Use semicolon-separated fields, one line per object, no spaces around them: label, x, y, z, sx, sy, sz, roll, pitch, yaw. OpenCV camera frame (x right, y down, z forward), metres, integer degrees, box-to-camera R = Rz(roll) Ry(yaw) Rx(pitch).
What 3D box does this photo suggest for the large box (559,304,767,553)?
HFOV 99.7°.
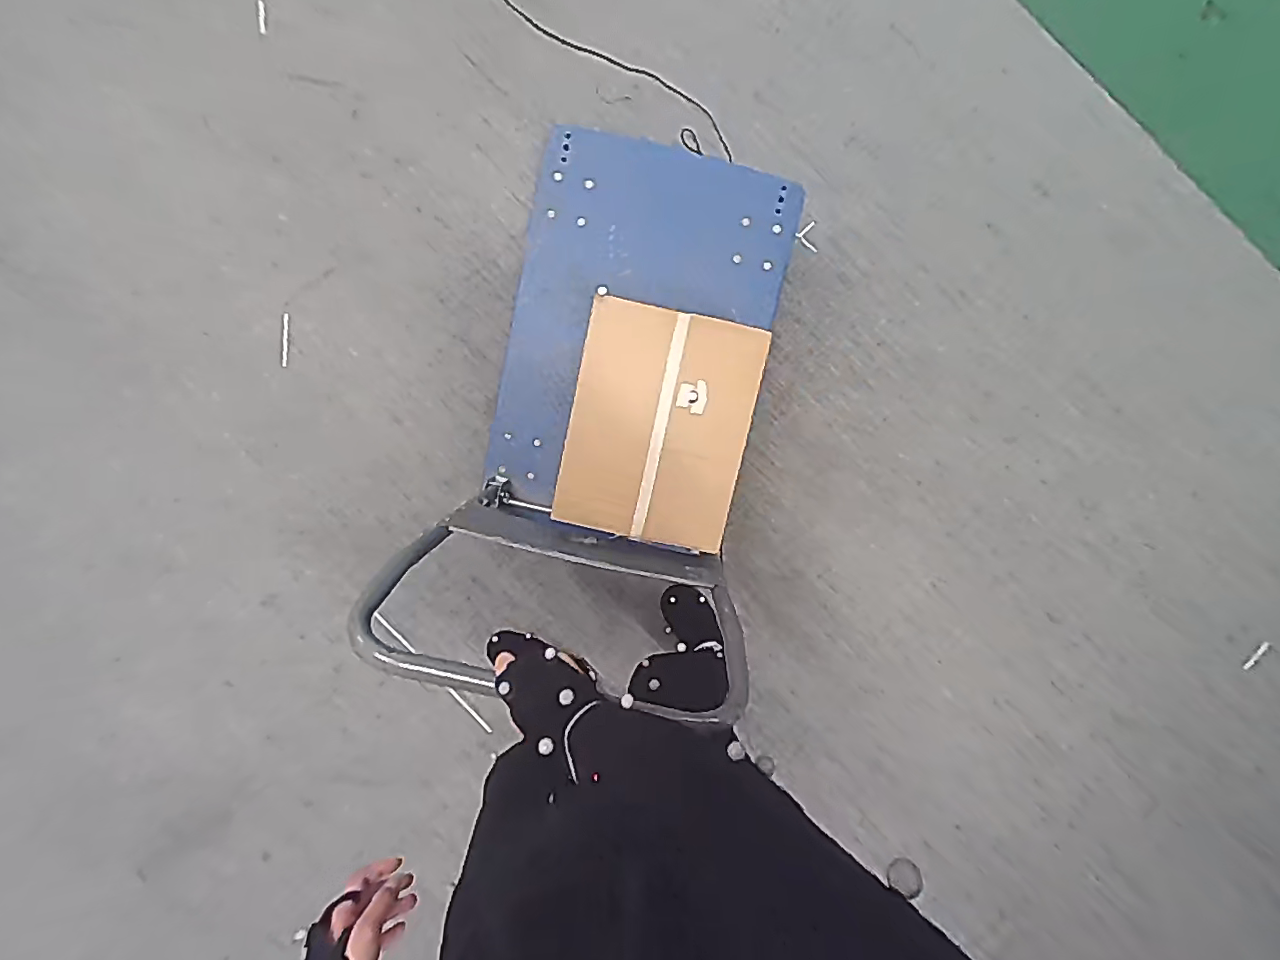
large box;0.039;-0.101;1.108;0.320;0.320;0.408;12;97;-1
